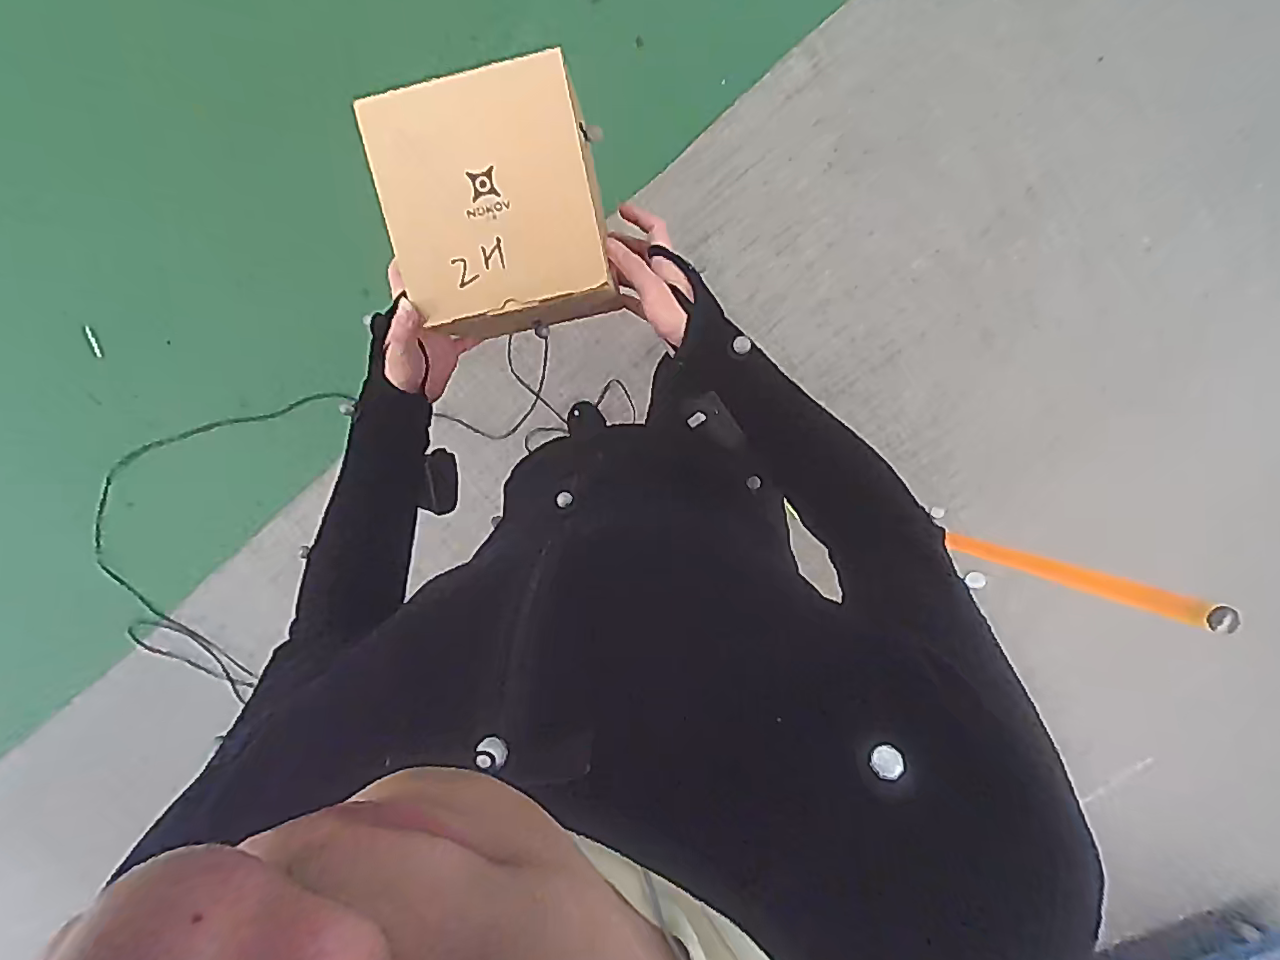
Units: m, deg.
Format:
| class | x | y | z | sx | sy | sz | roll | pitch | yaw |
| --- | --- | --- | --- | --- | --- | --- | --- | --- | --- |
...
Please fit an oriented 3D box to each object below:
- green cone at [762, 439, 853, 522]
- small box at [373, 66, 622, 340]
| class | x | y | z | sx | sy | sz | roll | pitch | yaw |
| --- | --- | --- | --- | --- | --- | --- | --- | --- | --- |
| green cone | 0.498 | 0.038 | 1.476 | 0.202 | 0.368 | 0.200 | -39 | 99 | 8 |
| small box | -0.114 | -0.238 | 0.513 | 0.168 | 0.176 | 0.179 | -10 | 101 | 4 |
